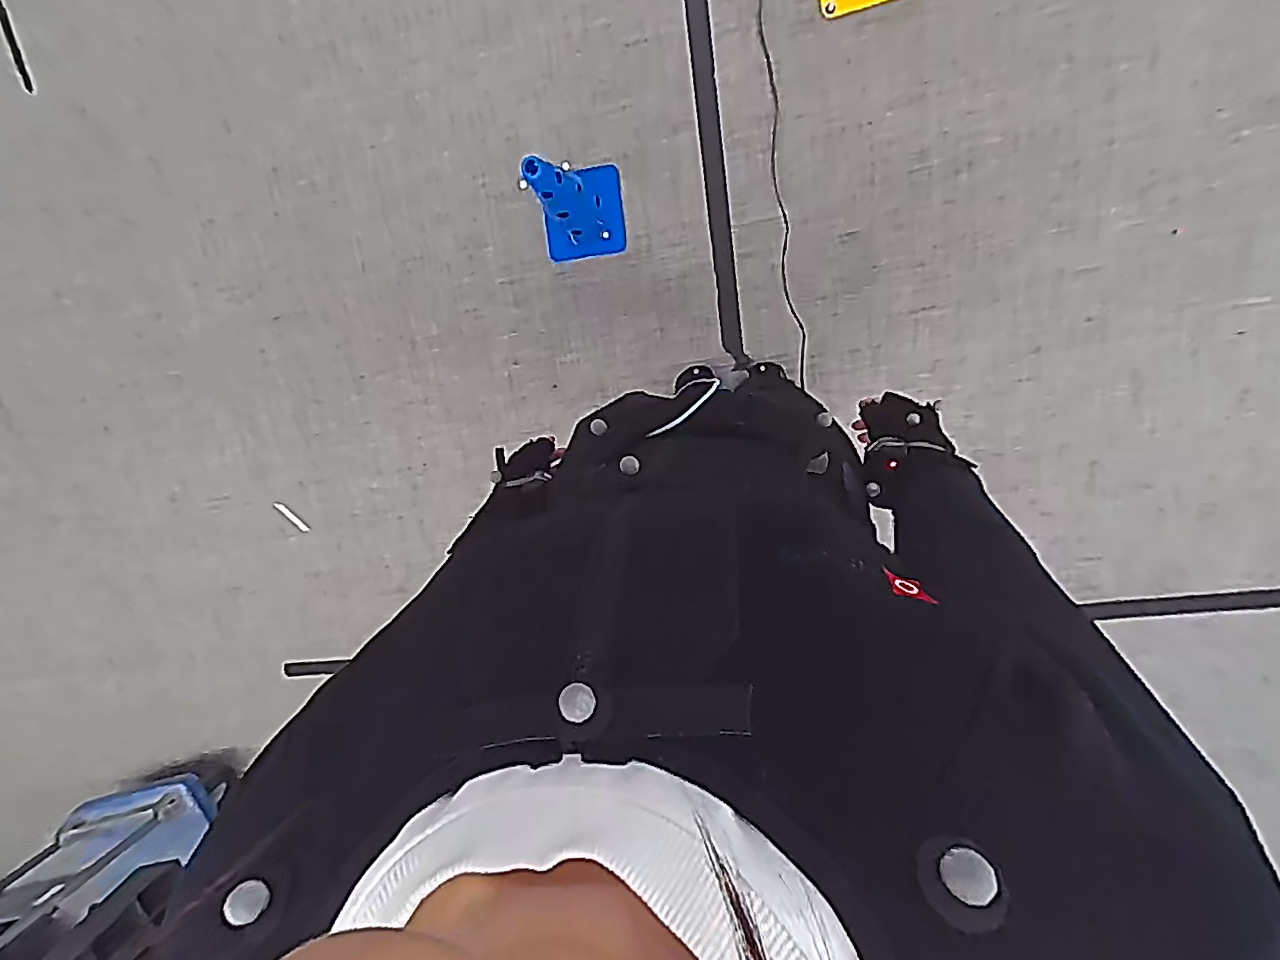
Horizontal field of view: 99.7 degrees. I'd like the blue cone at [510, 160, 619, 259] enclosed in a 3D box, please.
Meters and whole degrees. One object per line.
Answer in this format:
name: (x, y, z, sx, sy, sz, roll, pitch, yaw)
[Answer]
blue cone: (-0.179, -0.613, 1.168, 0.192, 0.380, 0.193, -2, 103, 11)
